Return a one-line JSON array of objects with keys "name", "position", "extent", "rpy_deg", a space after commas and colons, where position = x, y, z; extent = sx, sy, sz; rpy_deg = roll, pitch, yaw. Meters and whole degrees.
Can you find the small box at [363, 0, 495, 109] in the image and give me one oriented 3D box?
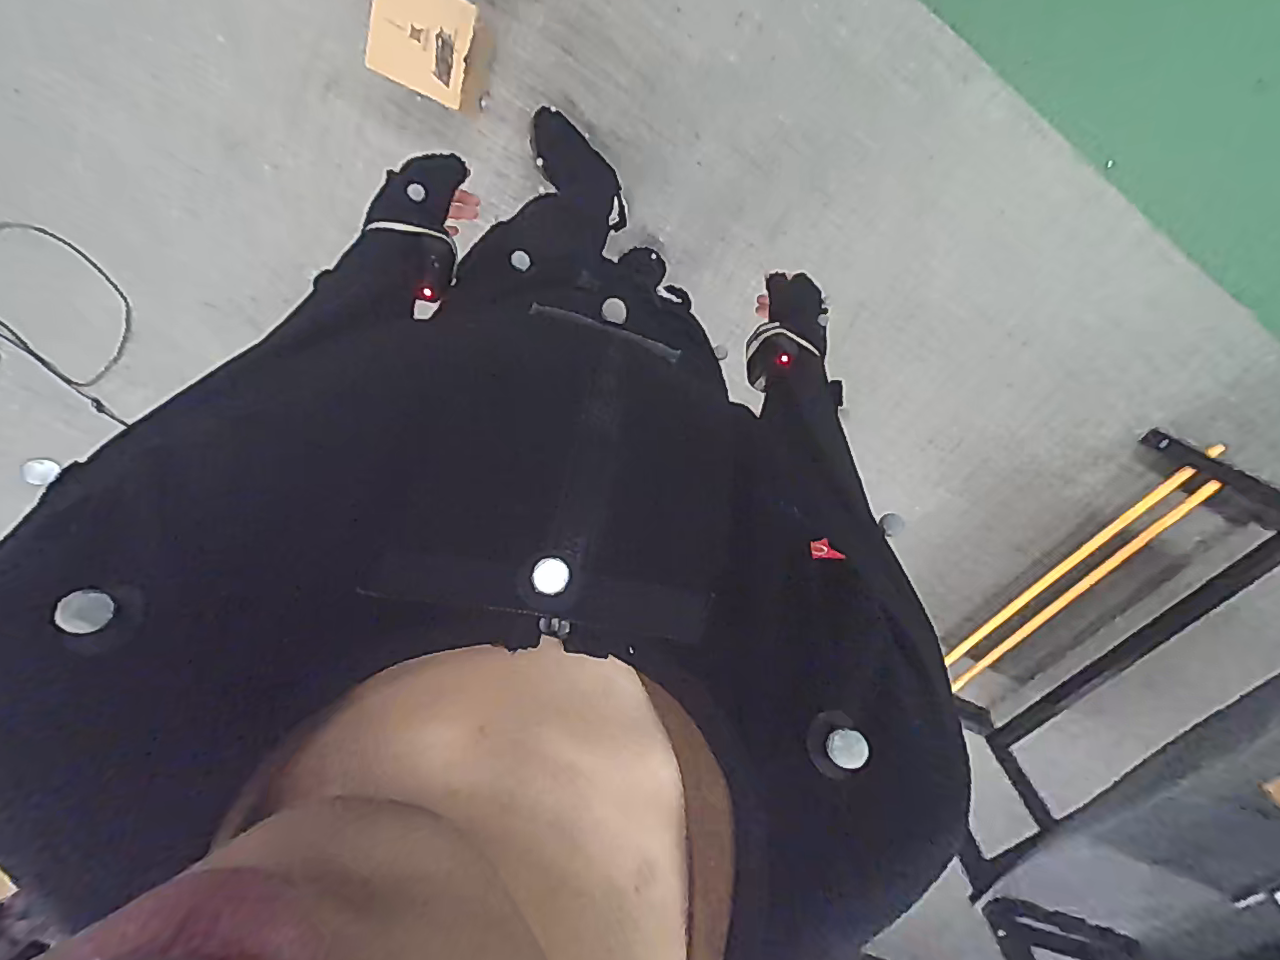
[{"name": "small box", "position": [-0.391, -0.834, 1.027], "extent": [0.179, 0.176, 0.168], "rpy_deg": [20, 117, -11]}]
